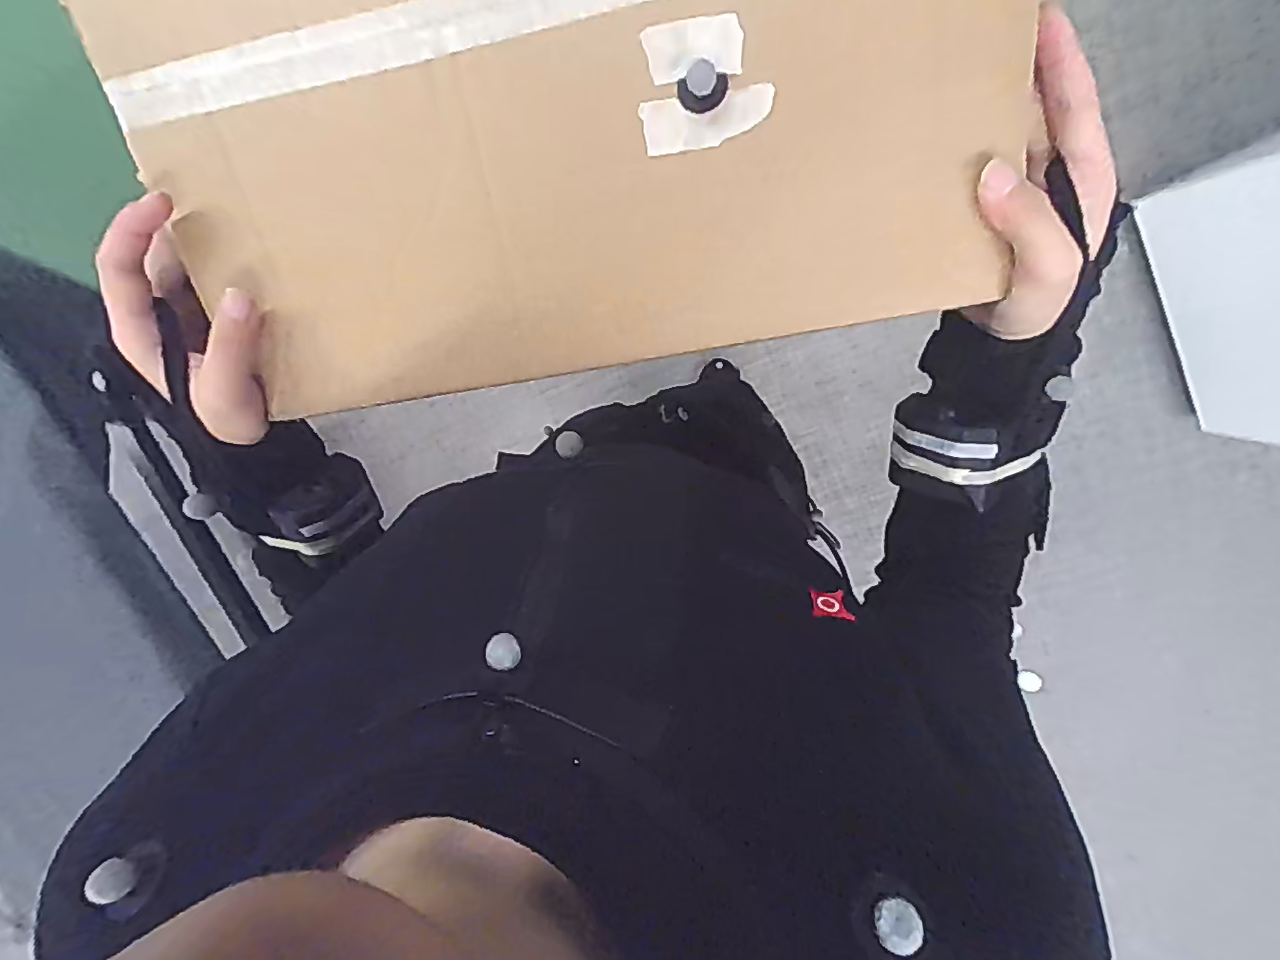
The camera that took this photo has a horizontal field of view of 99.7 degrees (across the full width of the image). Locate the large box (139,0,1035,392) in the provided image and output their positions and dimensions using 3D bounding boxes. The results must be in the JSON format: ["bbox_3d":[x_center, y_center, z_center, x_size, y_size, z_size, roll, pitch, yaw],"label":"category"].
[{"bbox_3d":[-0.026,-0.272,0.378,0.408,0.320,0.320,-8,112,6],"label":"large box"}]
